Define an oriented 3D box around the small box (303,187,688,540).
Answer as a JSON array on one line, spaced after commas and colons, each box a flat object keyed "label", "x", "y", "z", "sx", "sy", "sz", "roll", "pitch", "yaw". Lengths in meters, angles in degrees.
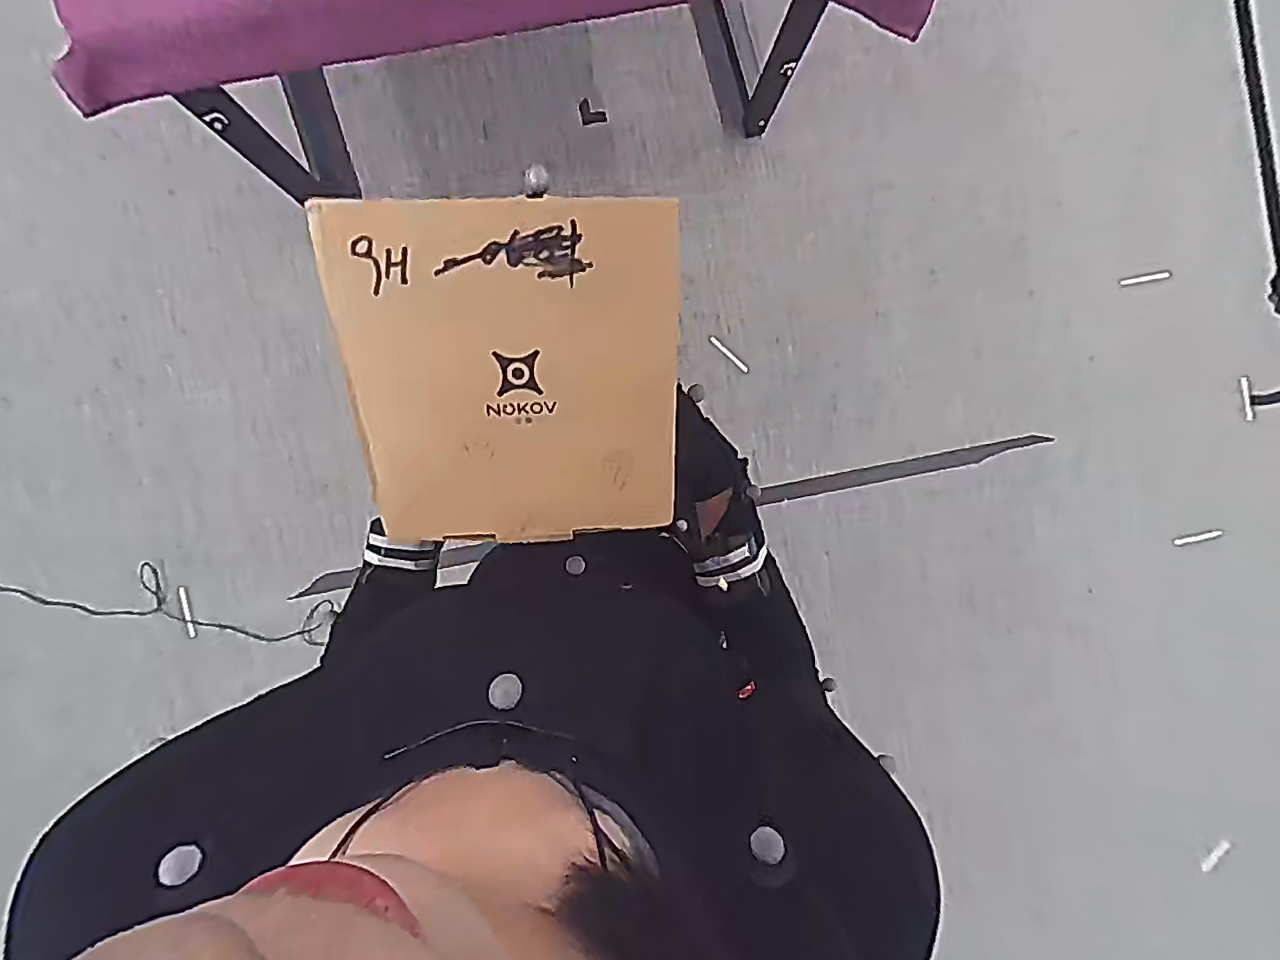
[{"label": "small box", "x": -0.068, "y": -0.083, "z": 0.340, "sx": 0.168, "sy": 0.176, "sz": 0.179, "roll": -4, "pitch": 117, "yaw": -6}]
